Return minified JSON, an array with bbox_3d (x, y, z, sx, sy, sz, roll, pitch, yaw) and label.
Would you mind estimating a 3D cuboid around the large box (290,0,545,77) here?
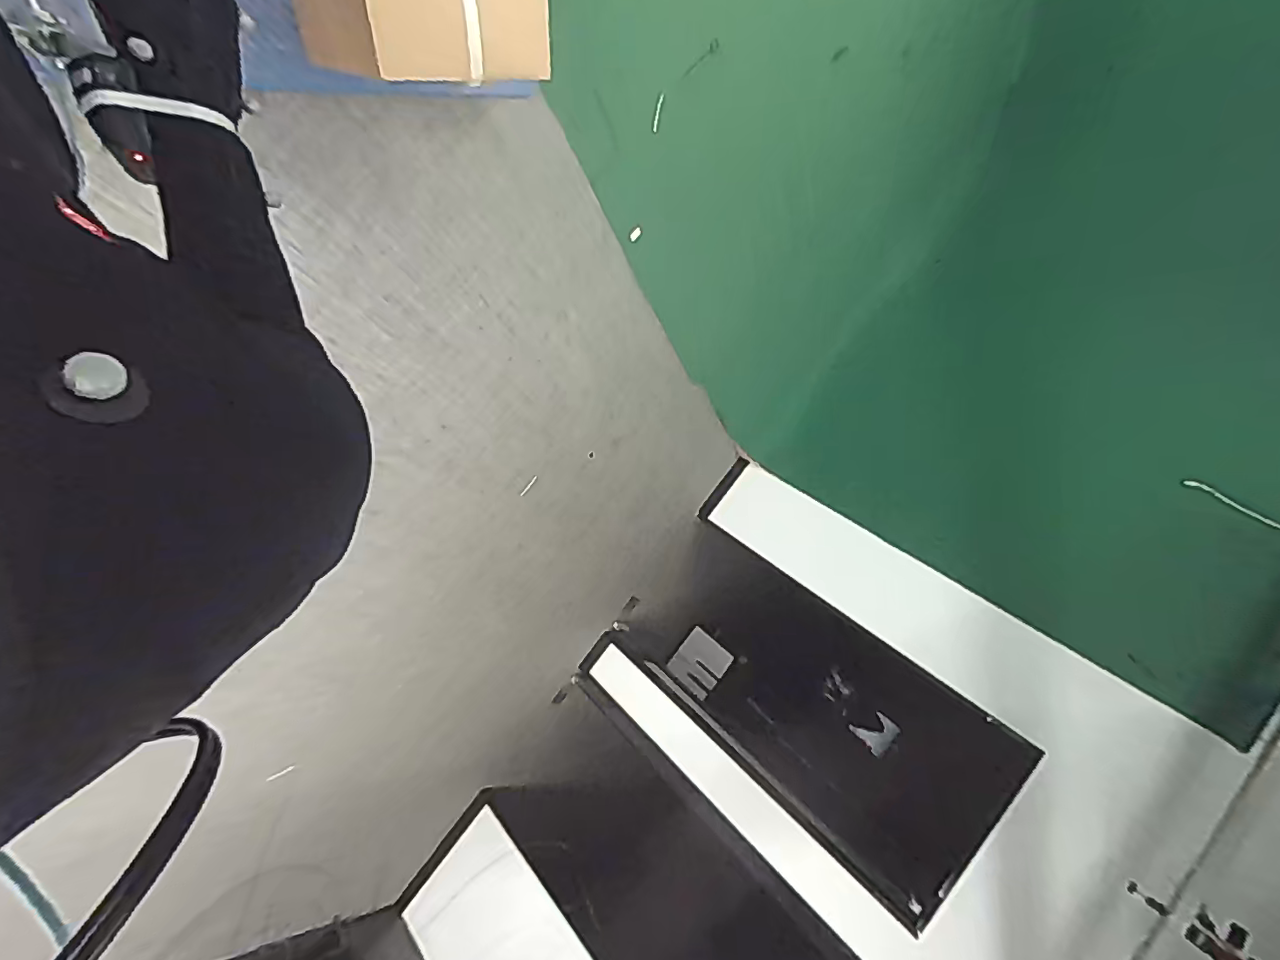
[{"bbox_3d":[-0.374,-0.881,0.835,0.320,0.320,0.408,-29,139,-34],"label":"large box"}]
